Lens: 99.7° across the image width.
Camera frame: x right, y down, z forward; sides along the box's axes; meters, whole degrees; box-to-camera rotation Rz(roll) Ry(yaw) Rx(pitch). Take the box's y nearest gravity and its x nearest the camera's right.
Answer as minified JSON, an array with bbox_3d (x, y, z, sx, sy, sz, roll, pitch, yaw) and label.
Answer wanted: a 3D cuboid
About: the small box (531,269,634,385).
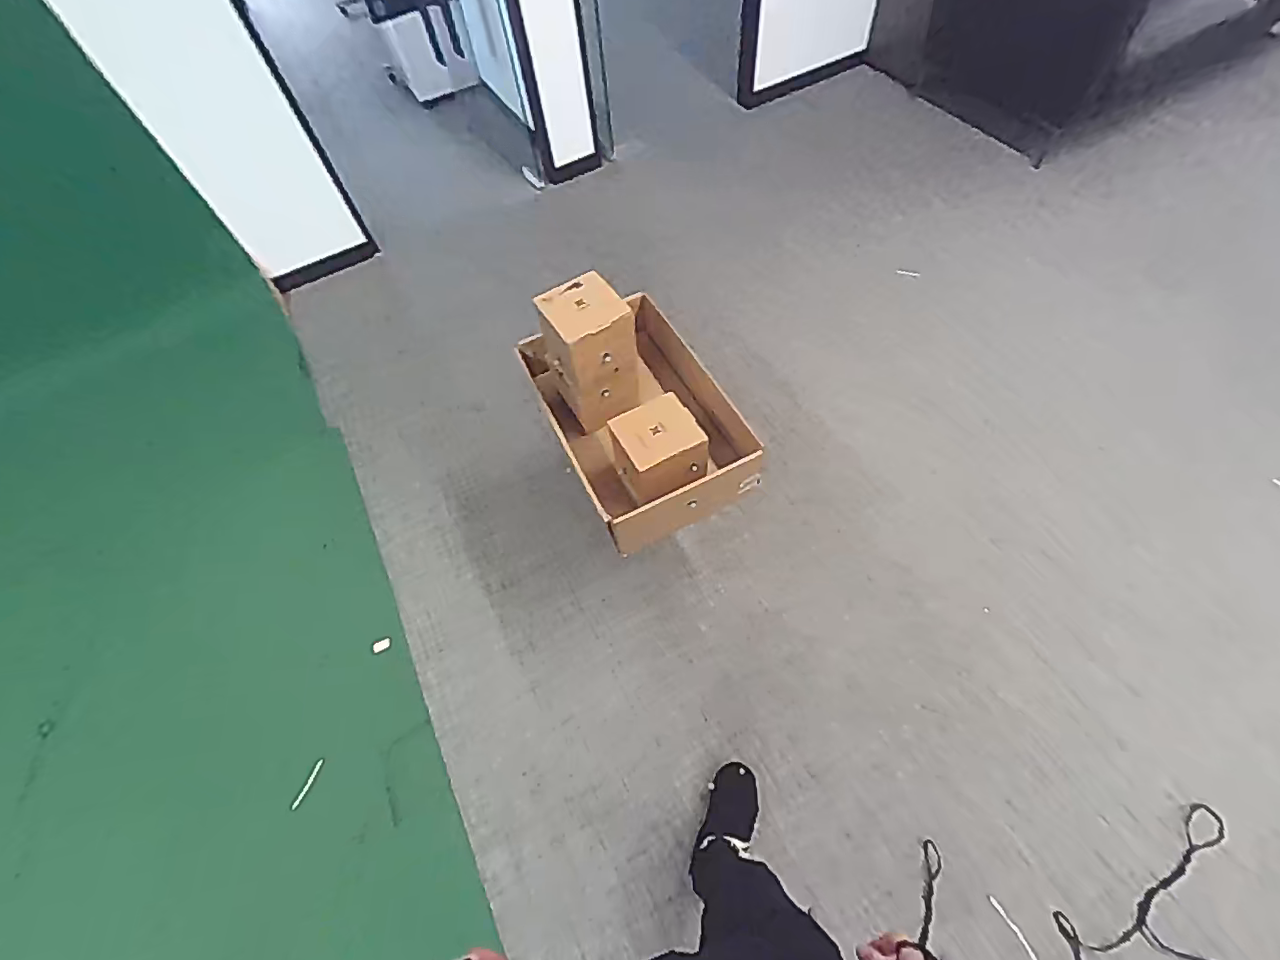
[{"bbox_3d":[-0.126,-0.346,1.259,0.168,0.176,0.179,-30,62,-12],"label":"small box"}]
